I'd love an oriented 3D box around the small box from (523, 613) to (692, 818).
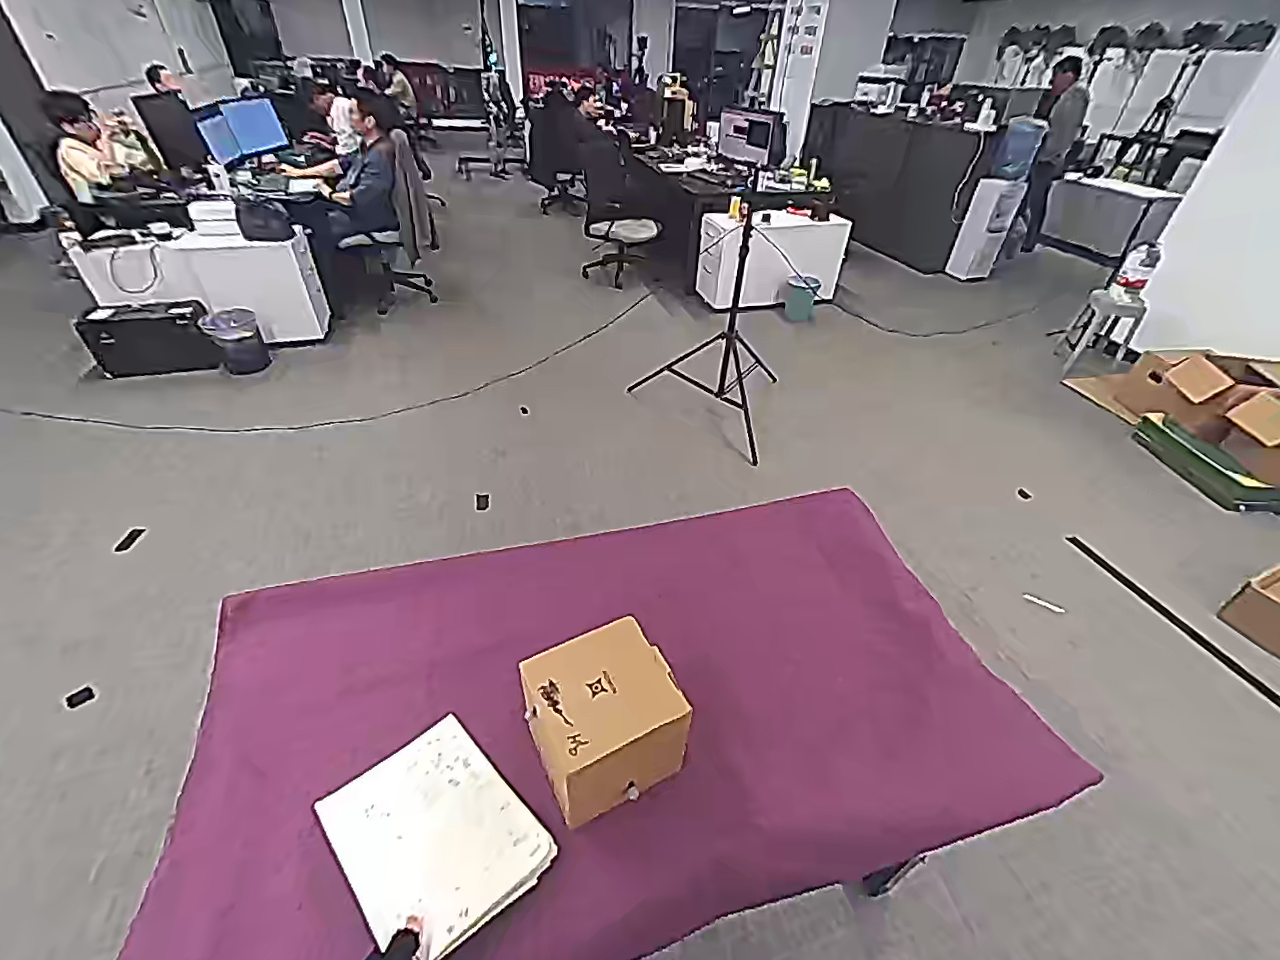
[{"bbox_3d":[-0.050,0.323,0.752,0.179,0.176,0.168,-17,42,-23],"label":"small box"}]
